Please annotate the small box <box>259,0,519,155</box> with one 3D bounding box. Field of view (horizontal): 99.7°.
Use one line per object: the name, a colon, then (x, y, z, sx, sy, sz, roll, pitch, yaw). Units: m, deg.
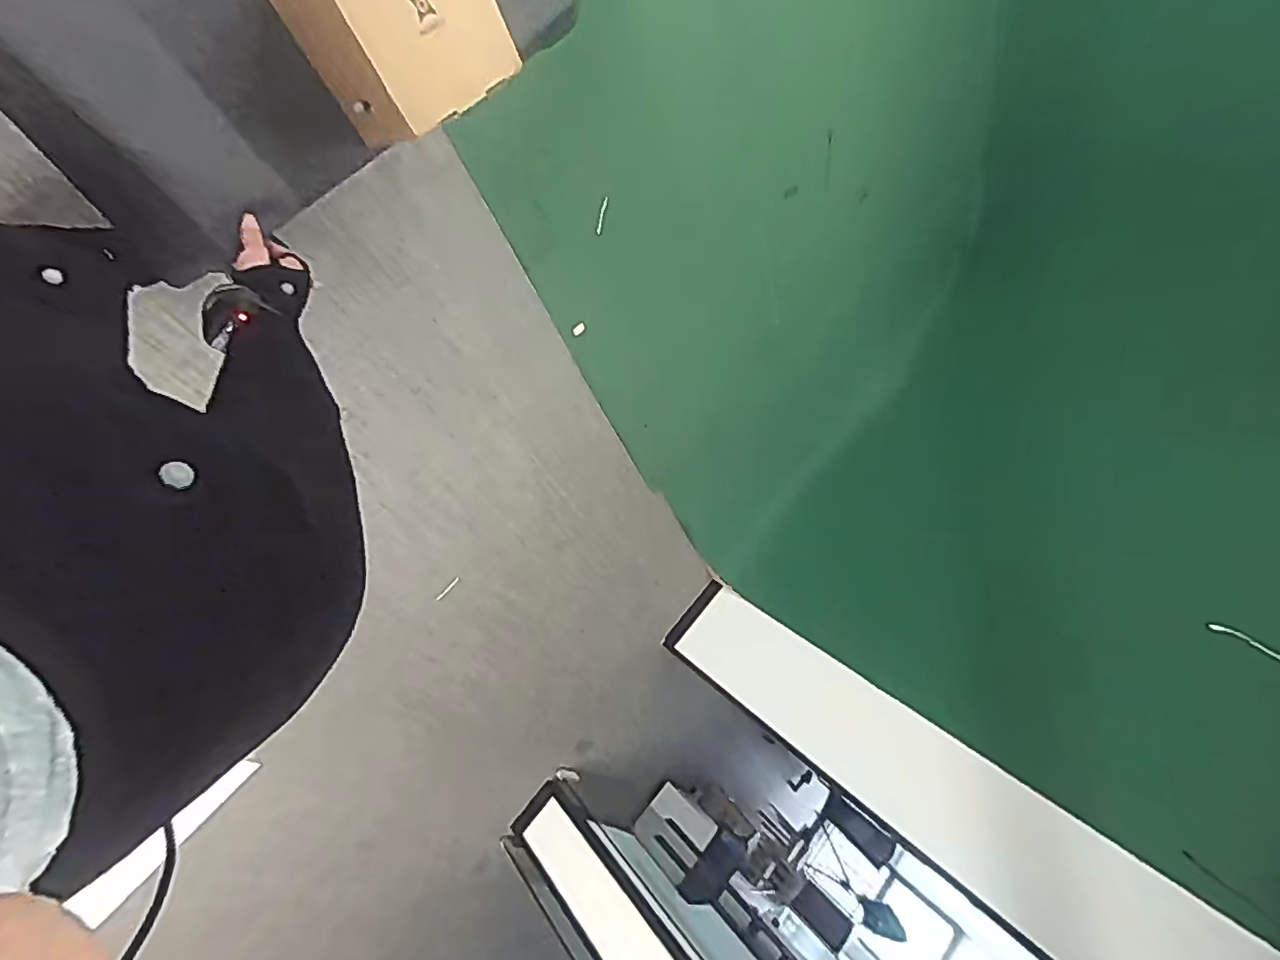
small box: (-0.275, -0.492, 0.602, 0.168, 0.176, 0.179, -48, 136, -16)
